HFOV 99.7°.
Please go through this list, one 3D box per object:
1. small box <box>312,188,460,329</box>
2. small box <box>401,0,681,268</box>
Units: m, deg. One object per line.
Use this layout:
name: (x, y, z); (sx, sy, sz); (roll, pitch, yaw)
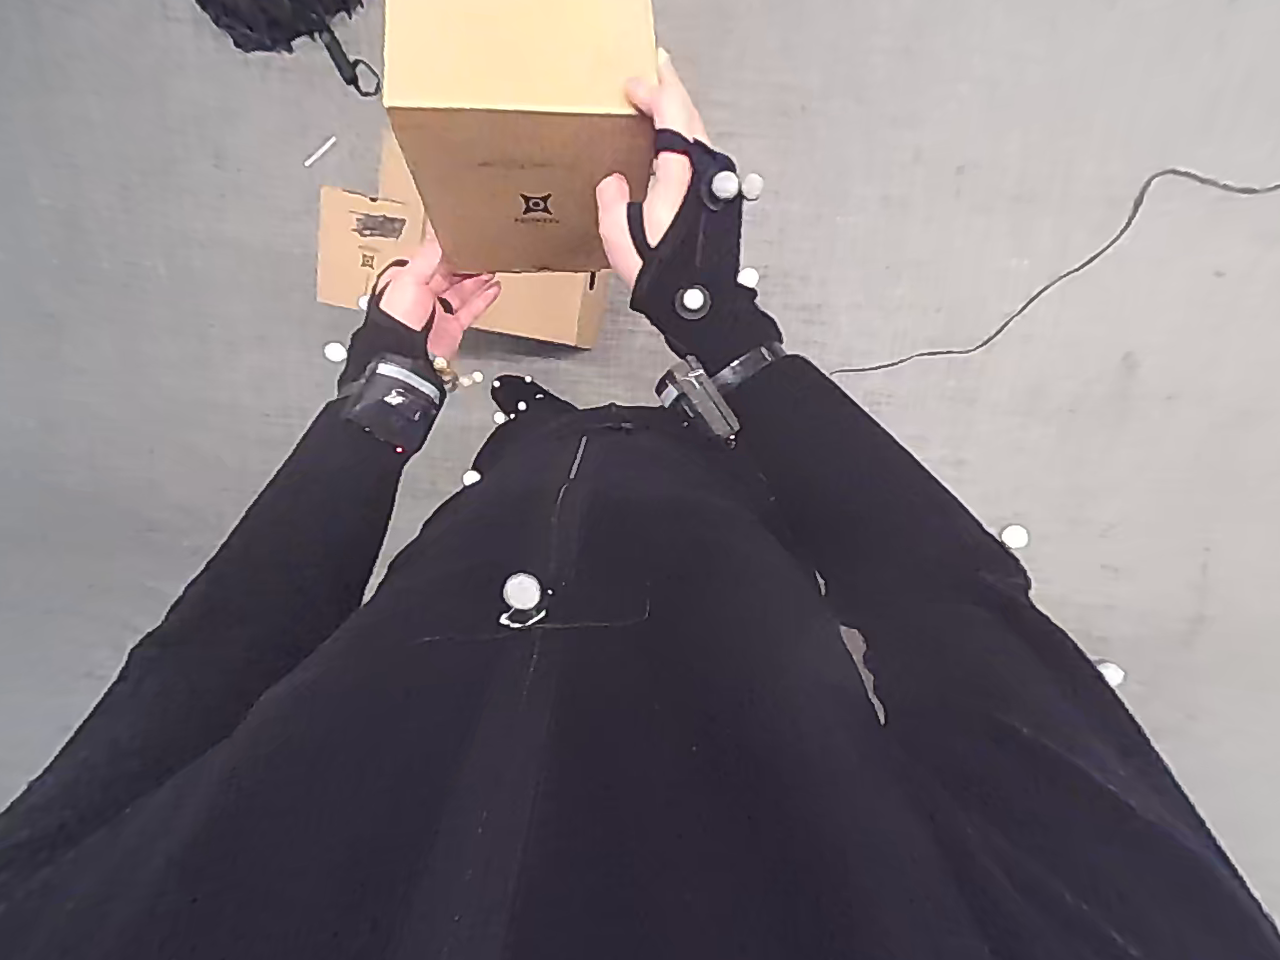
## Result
small box: (-0.421, -0.365, 0.922); (0.168, 0.176, 0.179); (13, 104, 0)
small box: (-0.071, -0.288, 0.413); (0.168, 0.179, 0.176); (-4, 77, -8)
